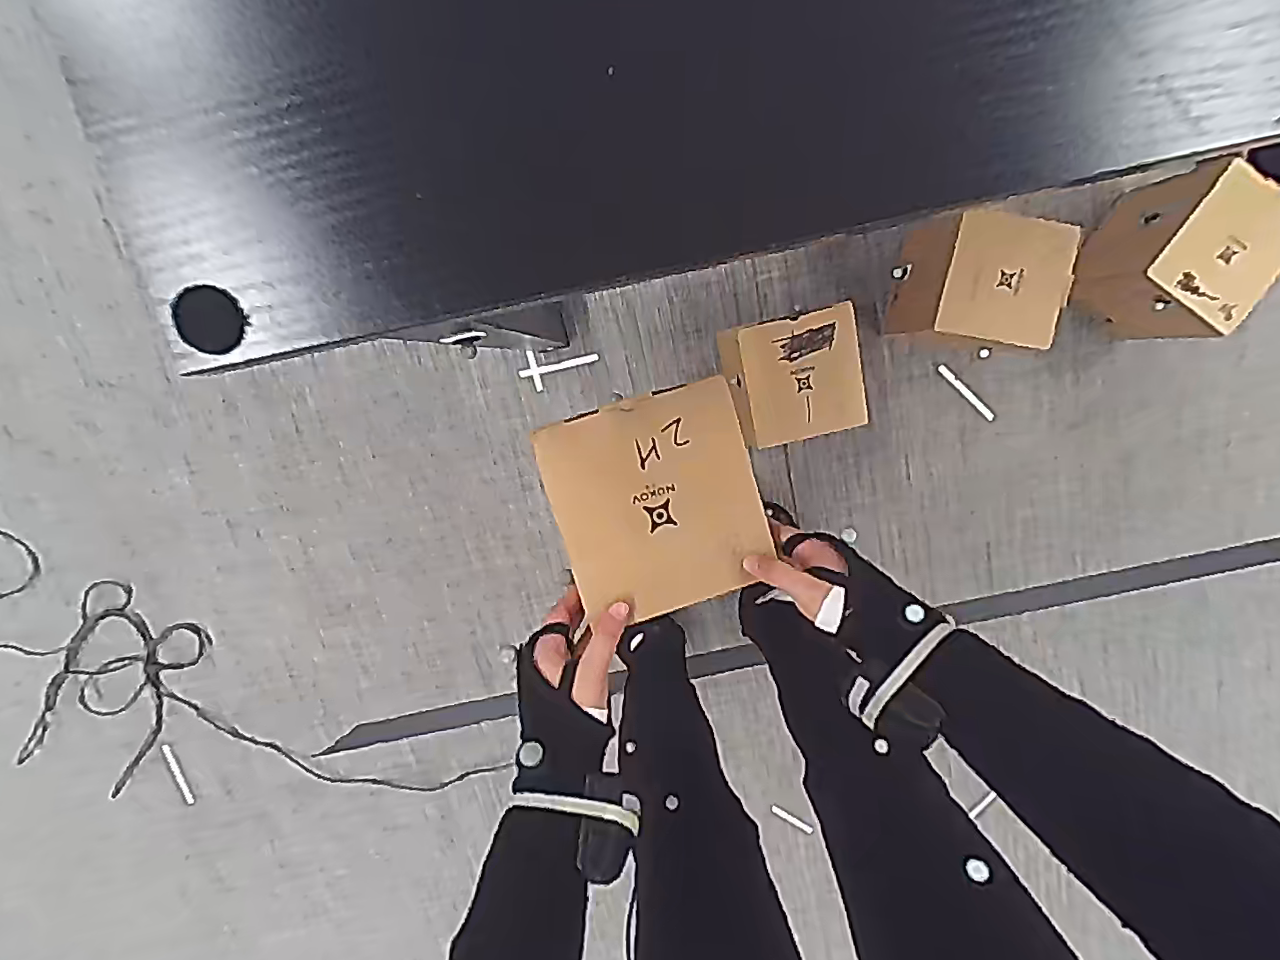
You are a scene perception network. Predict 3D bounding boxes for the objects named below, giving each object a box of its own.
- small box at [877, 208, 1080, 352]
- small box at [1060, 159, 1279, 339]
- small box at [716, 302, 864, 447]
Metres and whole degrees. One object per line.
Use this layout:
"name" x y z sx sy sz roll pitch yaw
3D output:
"small box" 0.495 -0.290 0.819 0.179 0.176 0.168 8 102 -3
"small box" 0.796 -0.331 0.815 0.168 0.176 0.179 30 100 -9
"small box" 0.222 -0.164 0.838 0.168 0.176 0.179 -13 104 1
